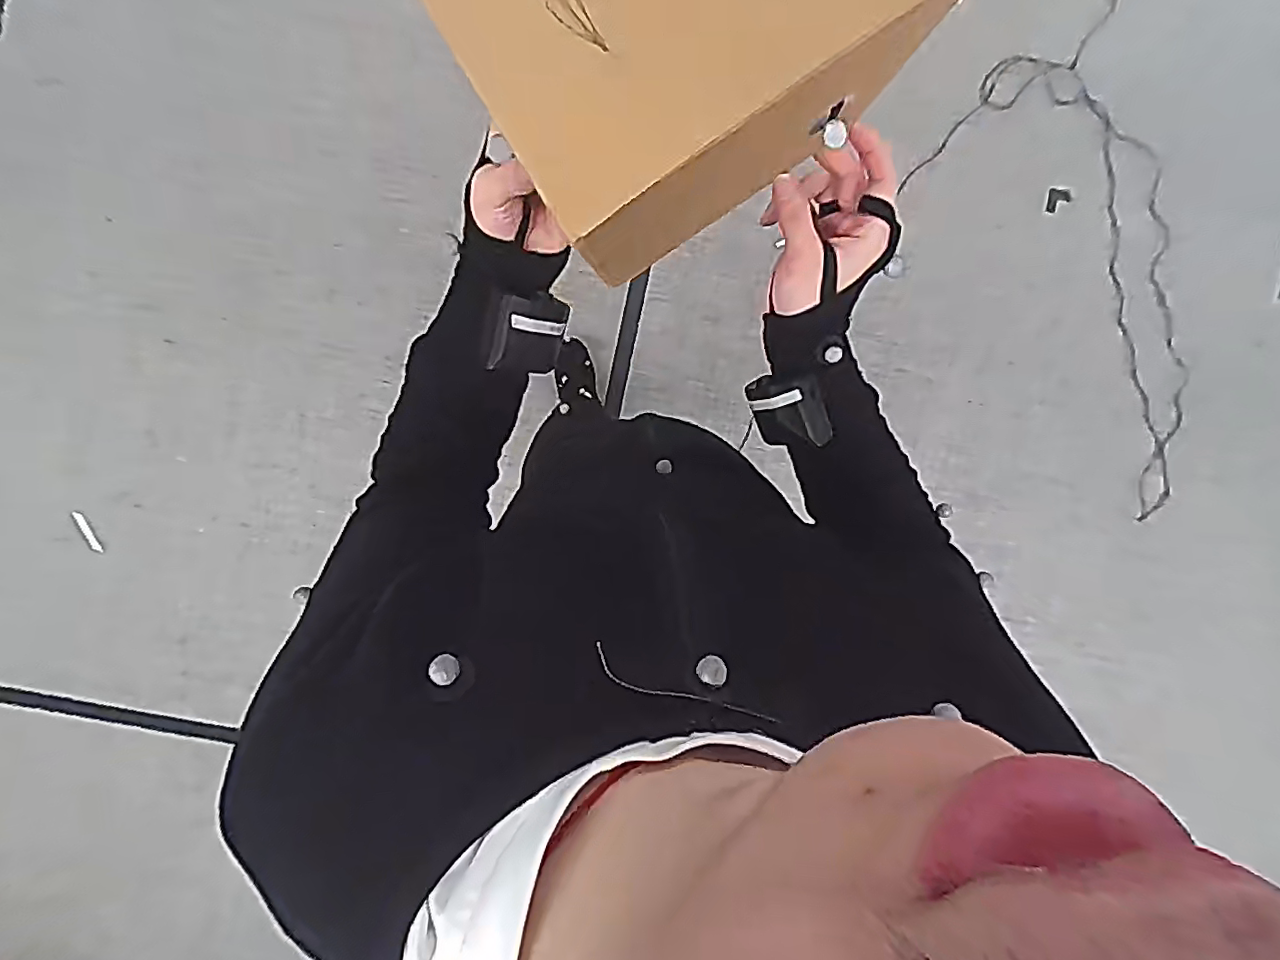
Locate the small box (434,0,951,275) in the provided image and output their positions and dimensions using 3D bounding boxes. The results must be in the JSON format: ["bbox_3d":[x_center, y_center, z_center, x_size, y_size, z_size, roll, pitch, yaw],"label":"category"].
[{"bbox_3d":[0.009,-0.225,0.262,0.179,0.176,0.168,-32,100,10],"label":"small box"}]
